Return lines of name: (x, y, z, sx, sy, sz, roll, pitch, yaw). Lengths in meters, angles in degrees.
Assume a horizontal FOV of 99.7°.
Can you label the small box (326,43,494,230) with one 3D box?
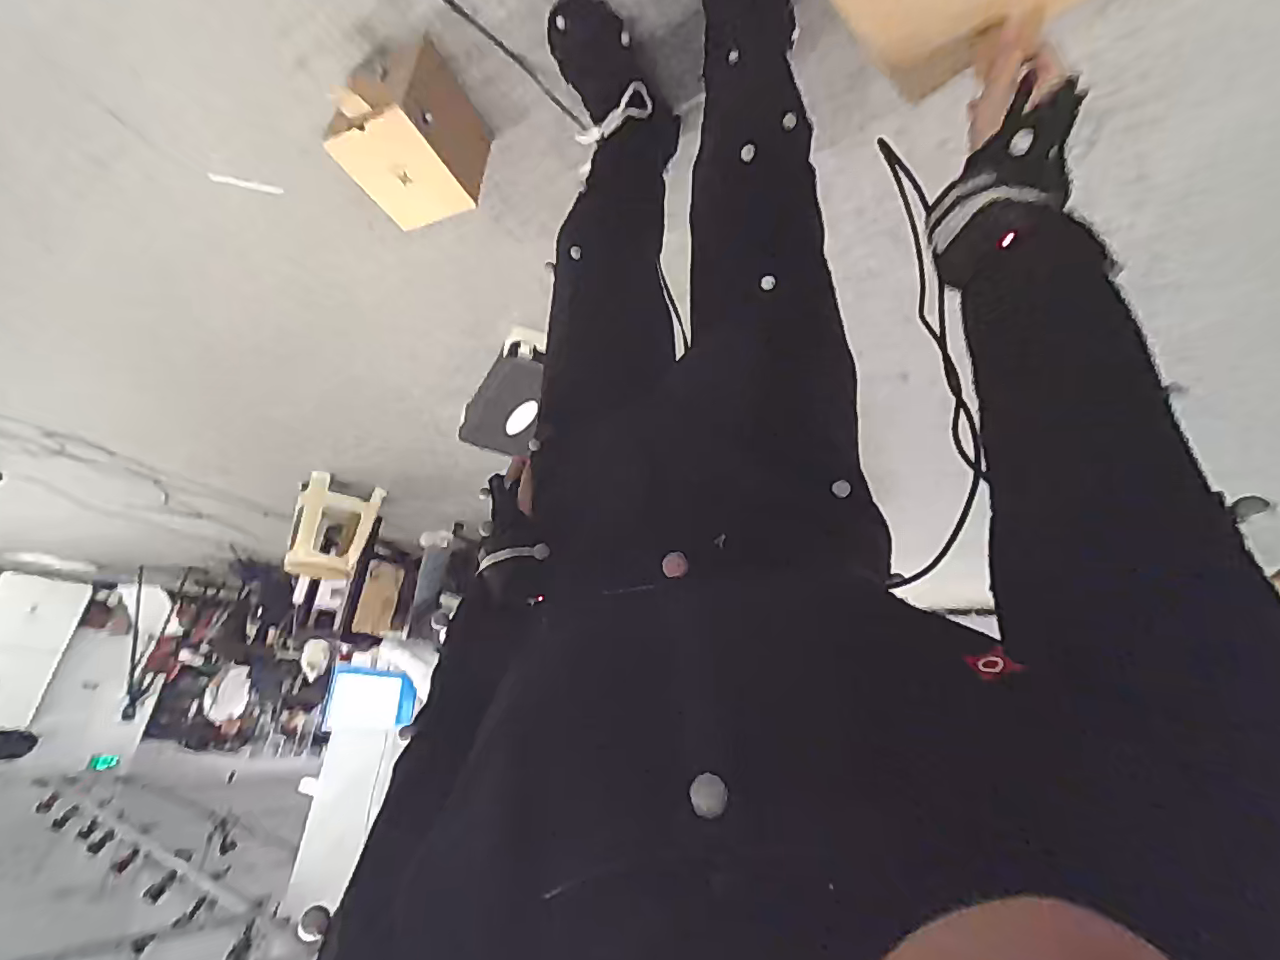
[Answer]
small box: (-0.366, -0.560, 0.895, 0.168, 0.176, 0.179, -5, 154, 23)
